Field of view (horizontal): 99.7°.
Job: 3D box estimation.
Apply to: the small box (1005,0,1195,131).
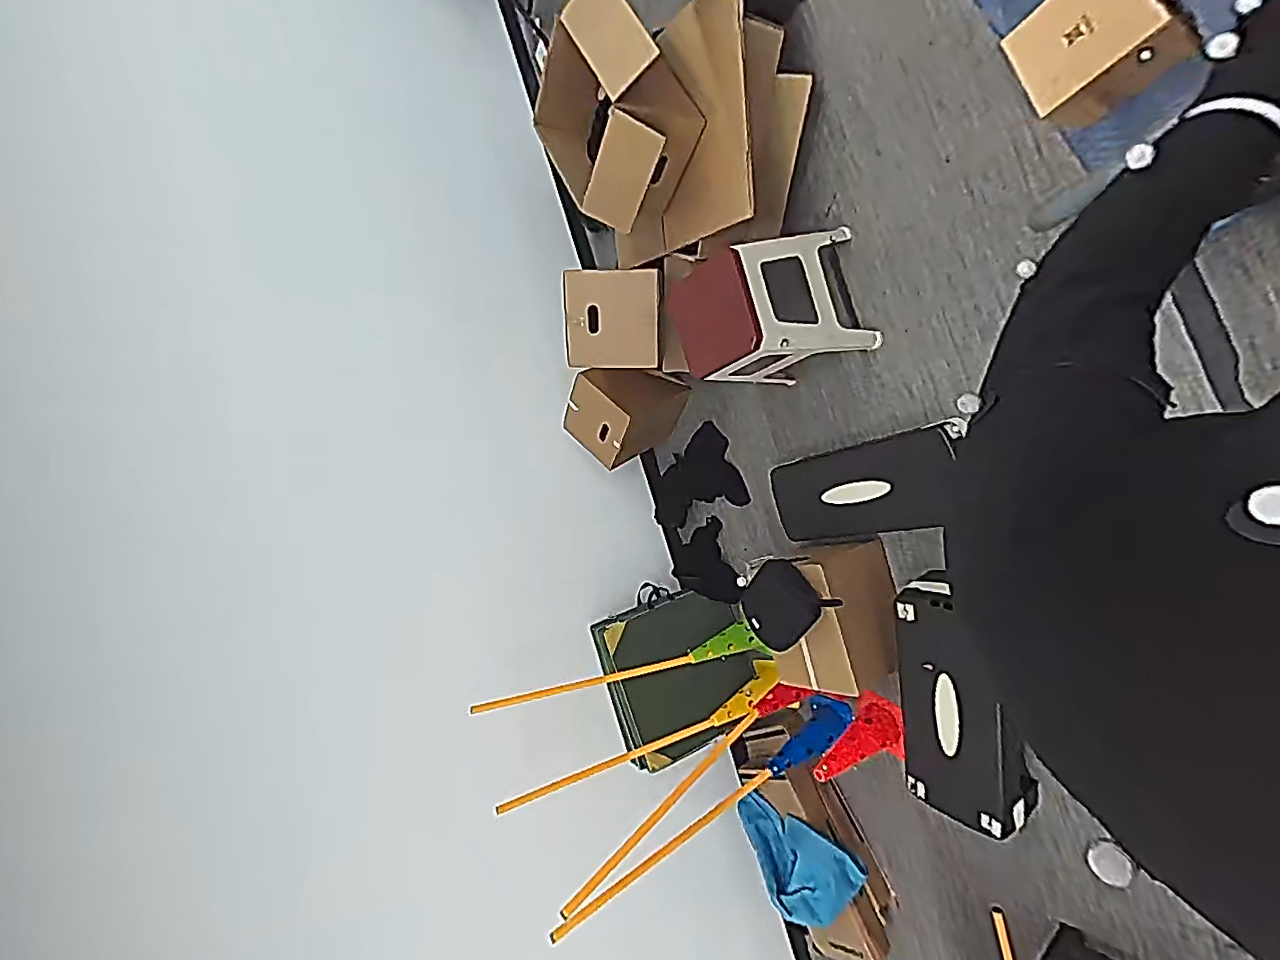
[{"bbox_3d":[0.770,-0.730,0.910,0.179,0.176,0.168,-32,75,54],"label":"small box"}]
